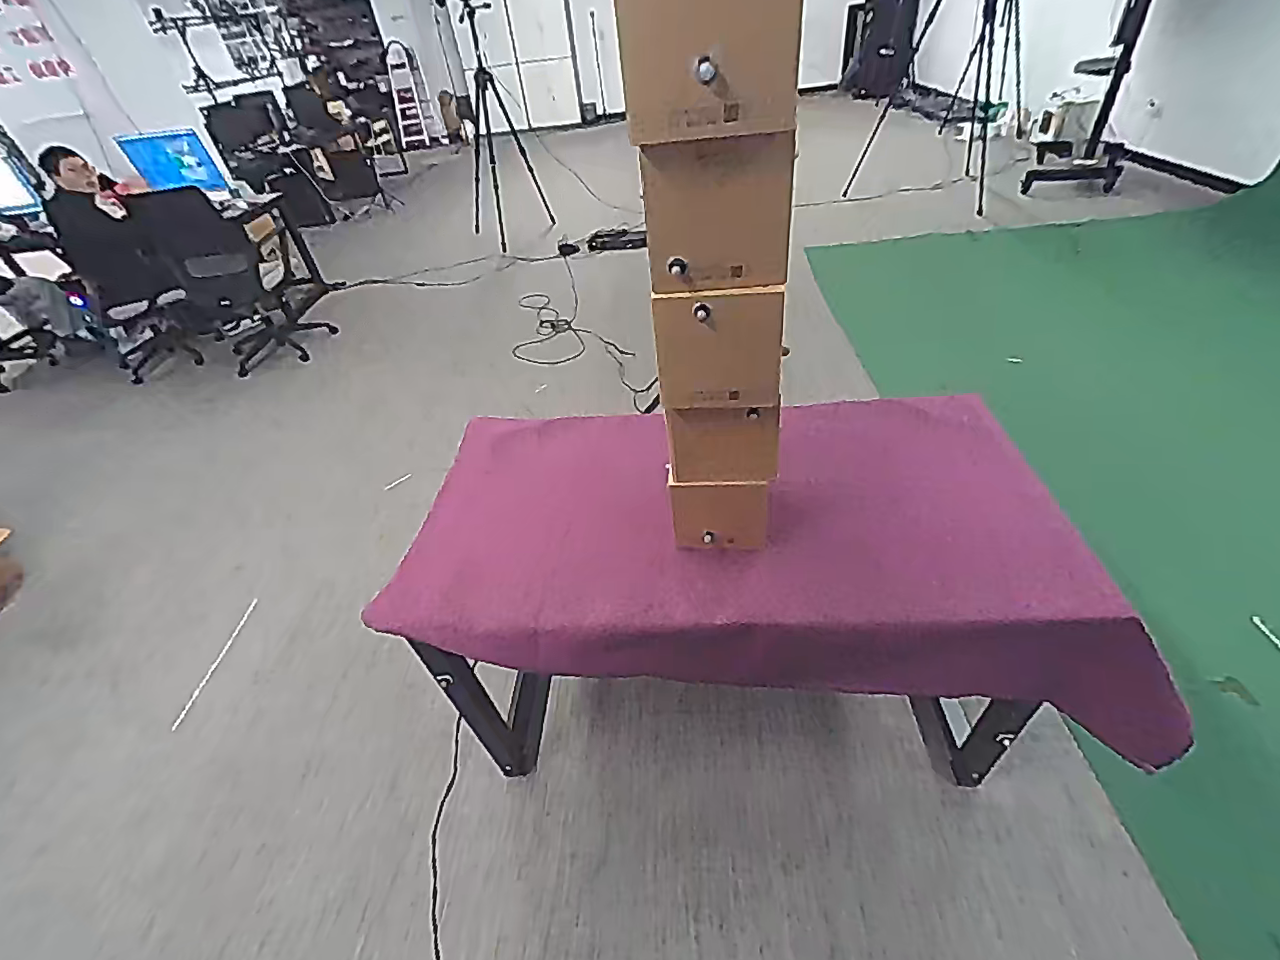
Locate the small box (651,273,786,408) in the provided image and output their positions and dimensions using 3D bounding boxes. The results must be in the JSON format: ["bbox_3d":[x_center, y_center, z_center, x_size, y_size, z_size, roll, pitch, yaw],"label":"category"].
[{"bbox_3d":[0.115,-0.219,0.767,0.168,0.176,0.179,0,41,11],"label":"small box"}]

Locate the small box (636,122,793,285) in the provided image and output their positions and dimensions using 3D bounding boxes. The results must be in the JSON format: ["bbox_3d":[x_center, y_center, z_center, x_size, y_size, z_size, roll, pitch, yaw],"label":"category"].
[{"bbox_3d":[0.093,-0.351,0.670,0.168,0.176,0.179,-2,41,8],"label":"small box"}]

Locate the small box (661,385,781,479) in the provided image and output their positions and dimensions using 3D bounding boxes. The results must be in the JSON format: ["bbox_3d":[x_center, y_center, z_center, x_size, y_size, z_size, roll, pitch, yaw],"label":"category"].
[{"bbox_3d":[0.135,-0.113,0.892,0.179,0.176,0.168,-1,42,9],"label":"small box"}]

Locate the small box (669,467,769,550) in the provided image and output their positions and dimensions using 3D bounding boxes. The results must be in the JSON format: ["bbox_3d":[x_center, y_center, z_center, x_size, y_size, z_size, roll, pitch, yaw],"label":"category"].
[{"bbox_3d":[0.148,0.008,0.998,0.168,0.176,0.179,-1,43,10],"label":"small box"}]

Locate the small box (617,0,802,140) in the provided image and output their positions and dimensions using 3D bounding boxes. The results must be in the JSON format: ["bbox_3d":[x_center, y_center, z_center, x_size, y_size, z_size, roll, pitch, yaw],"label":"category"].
[{"bbox_3d":[0.073,-0.456,0.542,0.168,0.176,0.179,1,43,12],"label":"small box"}]
